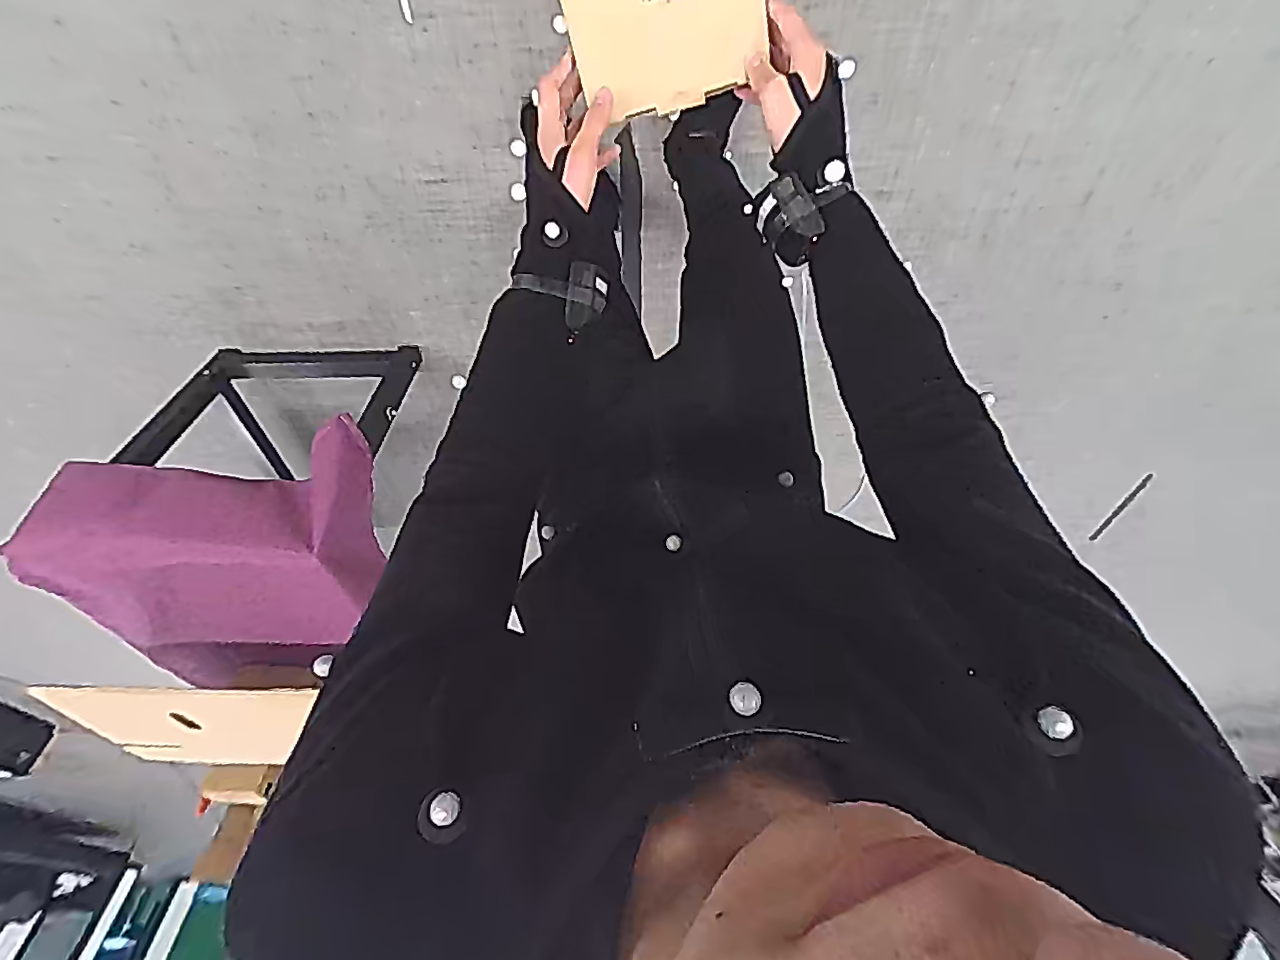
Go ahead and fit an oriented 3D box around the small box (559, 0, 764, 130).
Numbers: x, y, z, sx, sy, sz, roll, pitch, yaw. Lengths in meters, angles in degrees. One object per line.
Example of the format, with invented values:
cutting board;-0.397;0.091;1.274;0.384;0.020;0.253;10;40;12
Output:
small box;0.011;-0.458;0.507;0.168;0.176;0.179;-13;126;7
